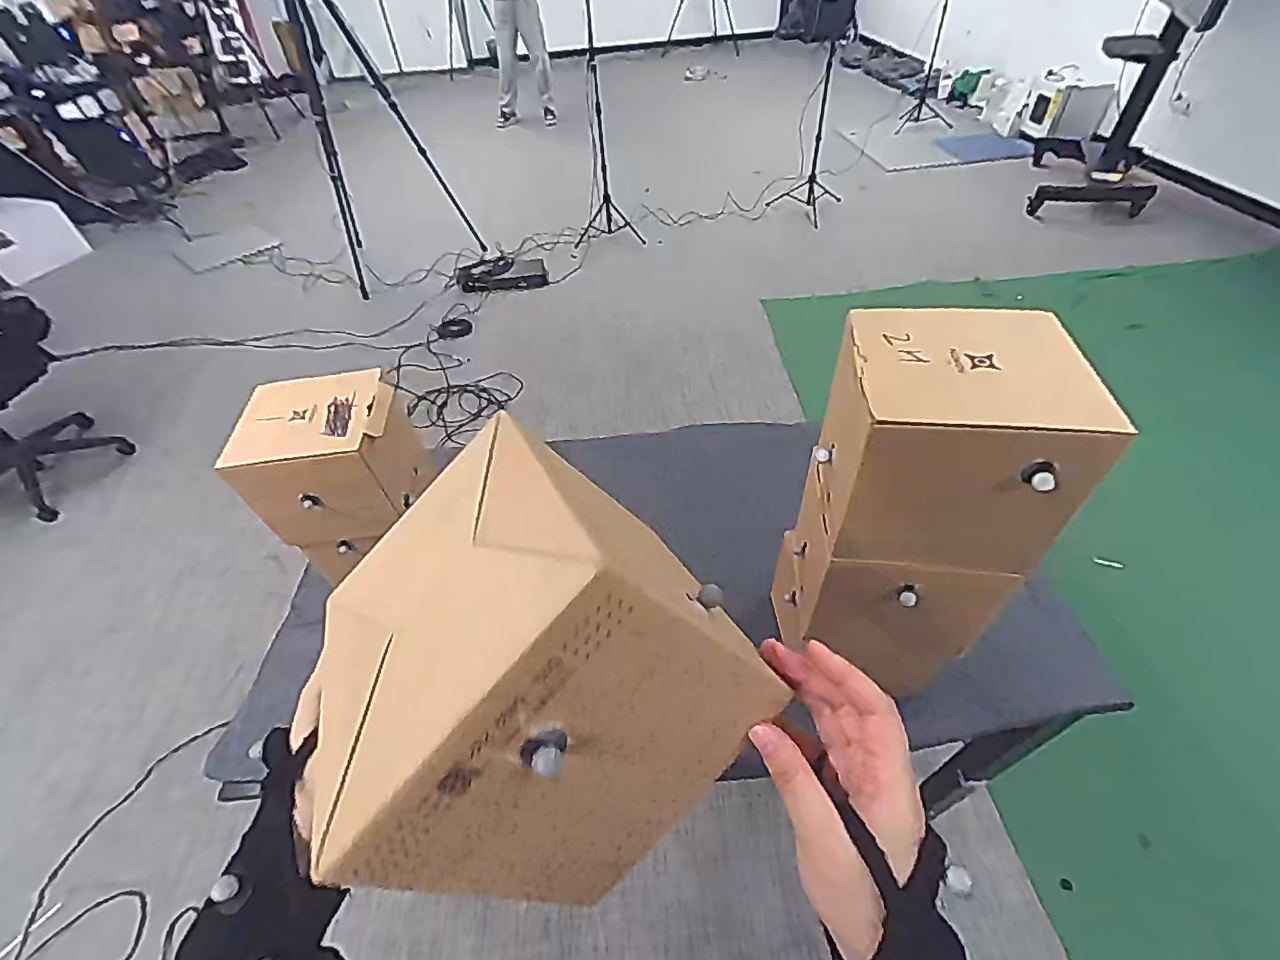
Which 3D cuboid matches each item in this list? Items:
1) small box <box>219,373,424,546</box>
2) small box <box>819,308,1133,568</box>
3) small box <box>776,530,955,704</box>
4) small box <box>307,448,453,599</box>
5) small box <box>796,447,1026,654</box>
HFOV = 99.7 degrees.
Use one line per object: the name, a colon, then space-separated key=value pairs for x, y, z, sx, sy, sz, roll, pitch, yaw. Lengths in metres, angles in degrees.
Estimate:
small box: x=-0.427 y=-0.026 z=0.765 sx=0.179 sy=0.176 sz=0.168 roll=-8 pitch=48 yaw=-2
small box: x=0.270 y=-0.036 z=0.490 sx=0.179 sy=0.176 sz=0.168 roll=3 pitch=46 yaw=10
small box: x=0.289 y=0.181 z=0.734 sx=0.168 sy=0.176 sz=0.179 roll=-5 pitch=47 yaw=1
small box: x=-0.420 y=0.073 z=0.897 sx=0.168 sy=0.176 sz=0.179 roll=-8 pitch=48 yaw=-3
small box: x=0.279 y=0.080 z=0.607 sx=0.179 sy=0.176 sz=0.168 roll=2 pitch=46 yaw=9
